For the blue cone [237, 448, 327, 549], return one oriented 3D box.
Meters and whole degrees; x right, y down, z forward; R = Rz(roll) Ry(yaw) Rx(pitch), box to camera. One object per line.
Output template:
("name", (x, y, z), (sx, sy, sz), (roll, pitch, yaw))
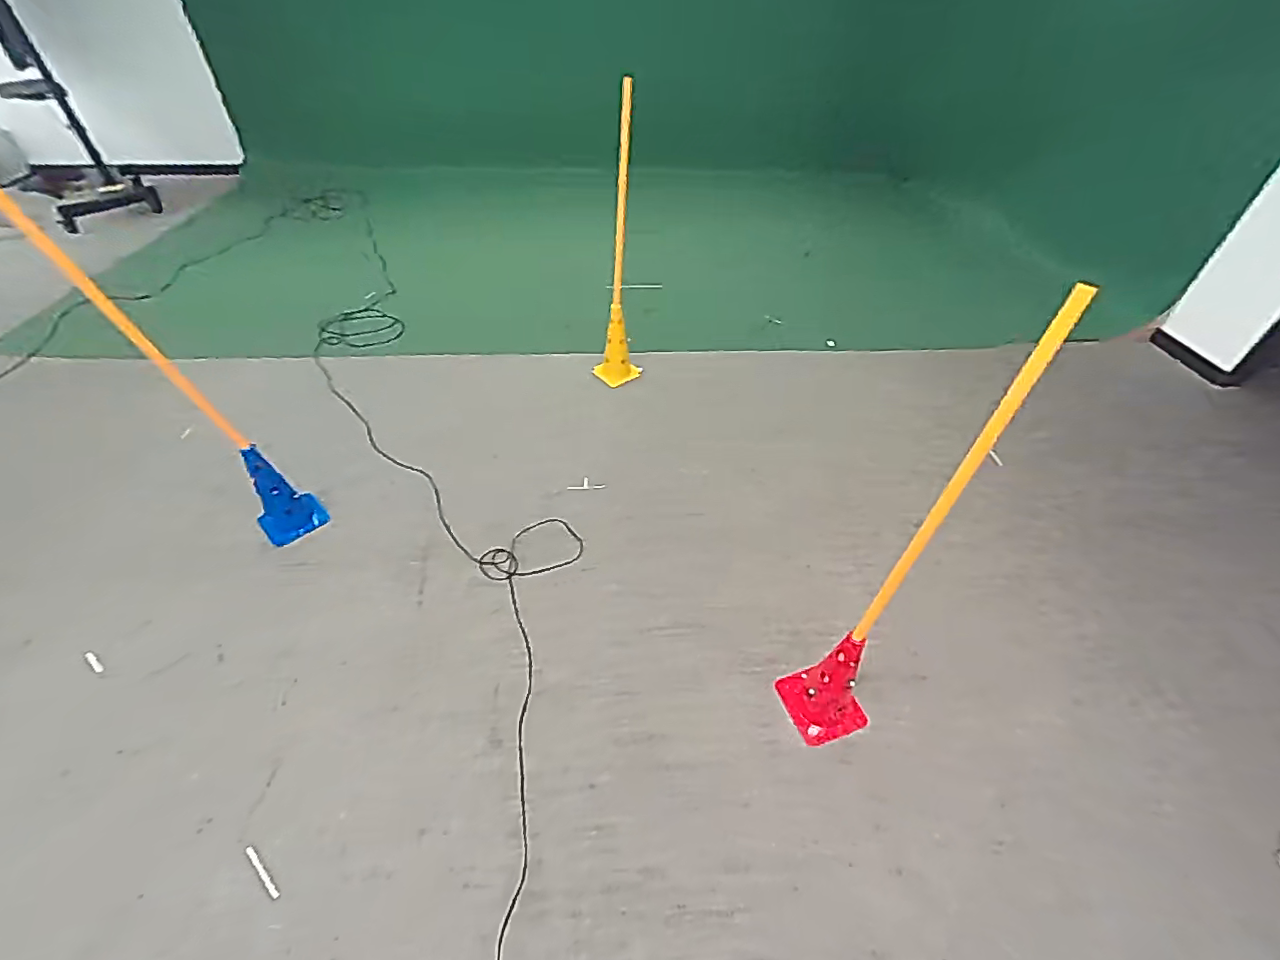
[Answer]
("blue cone", (-1.255, 0.043, 1.840), (0.192, 0.380, 0.193), (33, 55, 28))
